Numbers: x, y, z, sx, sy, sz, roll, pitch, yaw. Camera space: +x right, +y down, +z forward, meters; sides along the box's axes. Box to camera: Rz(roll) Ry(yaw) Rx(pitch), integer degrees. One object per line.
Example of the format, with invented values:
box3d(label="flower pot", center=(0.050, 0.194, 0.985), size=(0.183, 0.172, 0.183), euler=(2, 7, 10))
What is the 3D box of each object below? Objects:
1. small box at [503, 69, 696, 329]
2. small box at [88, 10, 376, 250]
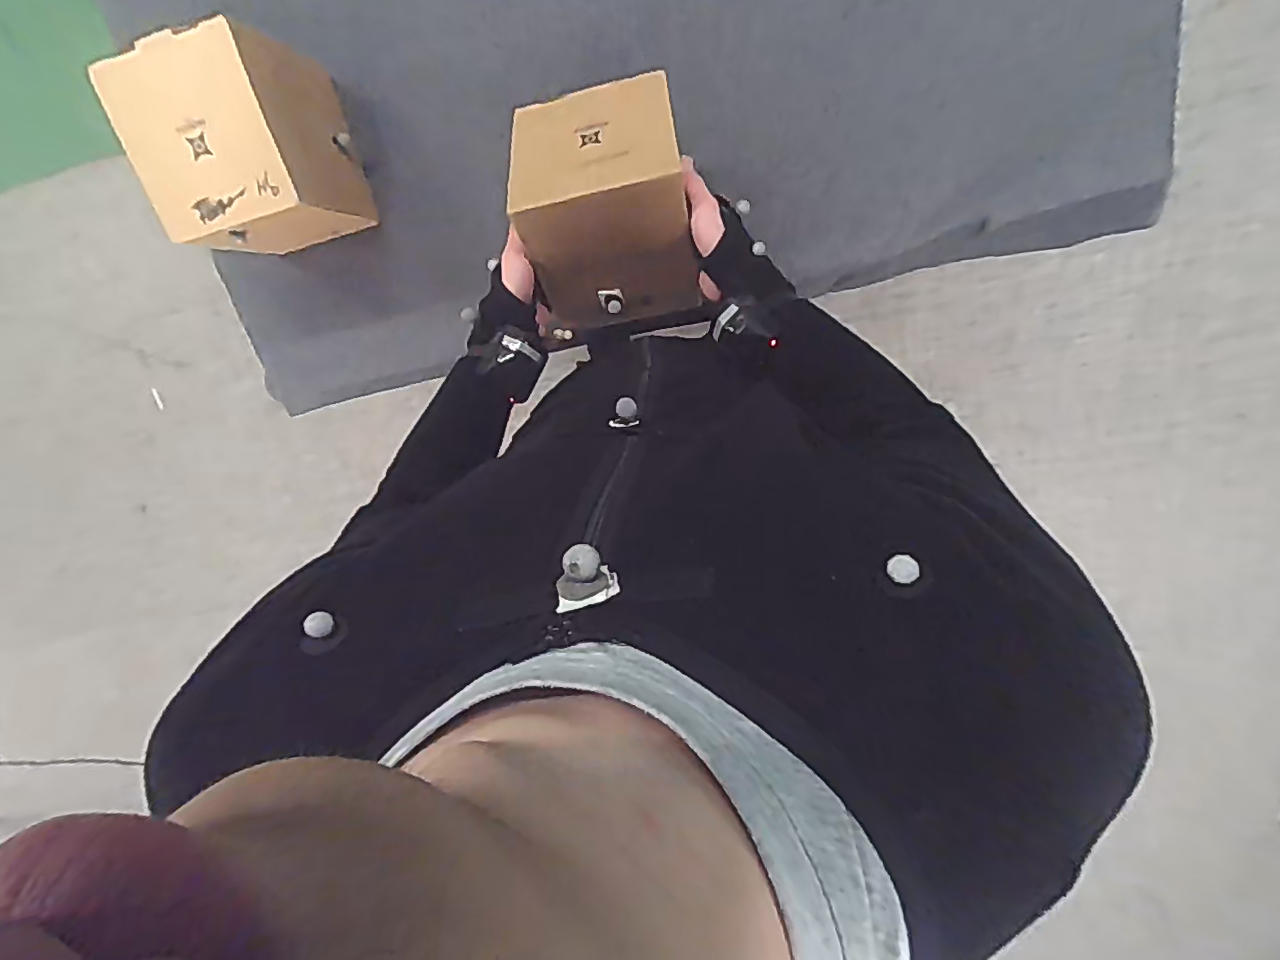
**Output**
box3d(label="small box", center=(-0.035, -0.297, 0.592), size=(0.168, 0.179, 0.176), euler=(-9, 152, 9))
box3d(label="small box", center=(-0.452, -0.384, 0.632), size=(0.168, 0.176, 0.179), euler=(-12, 108, 10))
